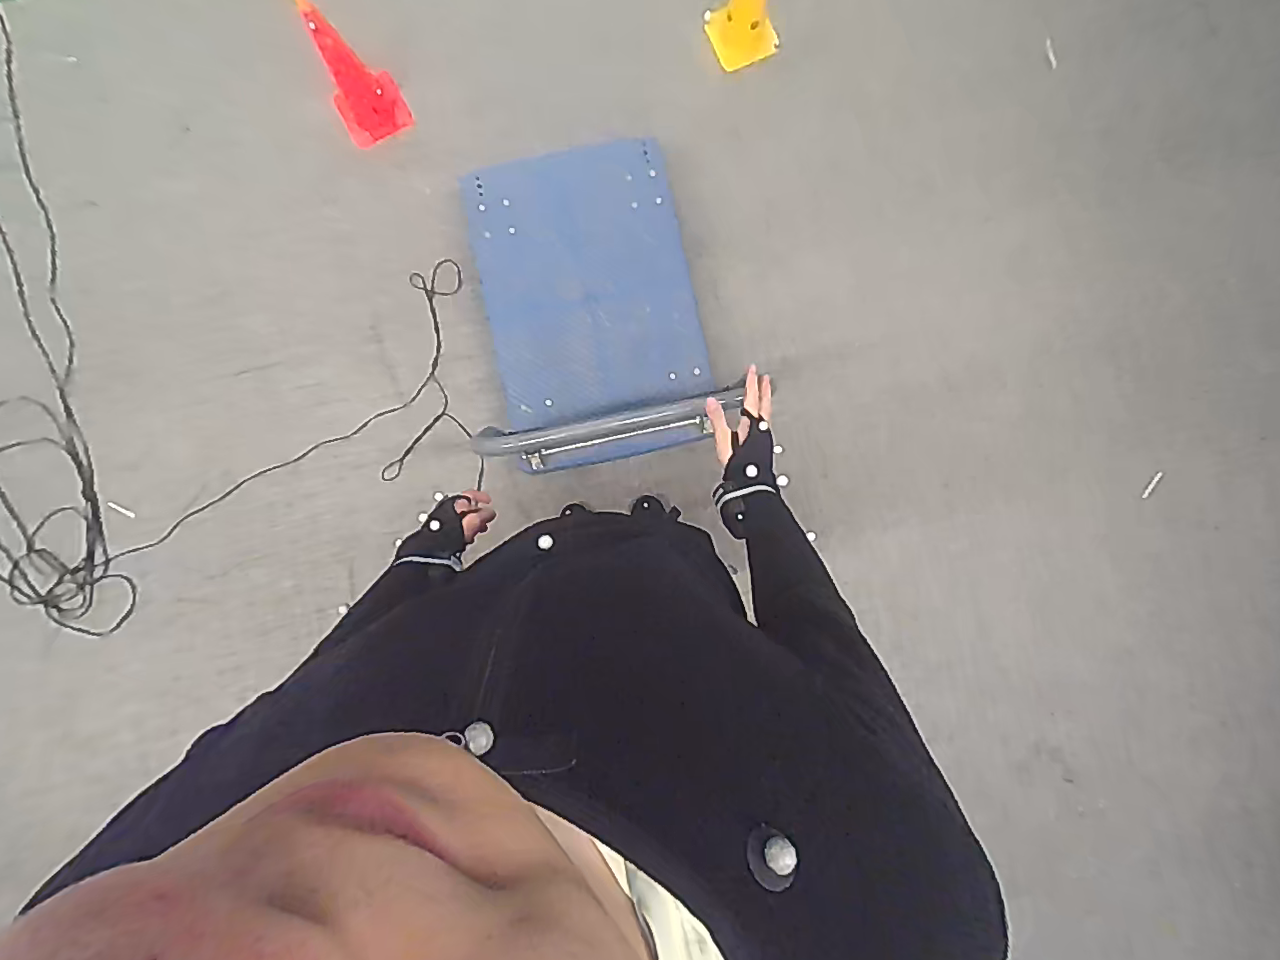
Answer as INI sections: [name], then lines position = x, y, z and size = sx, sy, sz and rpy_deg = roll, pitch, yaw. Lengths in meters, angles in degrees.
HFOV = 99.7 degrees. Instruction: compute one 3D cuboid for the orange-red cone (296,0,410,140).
[orange-red cone]
position = -0.833, -1.177, 1.505
size = 0.199, 0.360, 0.198
rpy_deg = -27, 88, -1
